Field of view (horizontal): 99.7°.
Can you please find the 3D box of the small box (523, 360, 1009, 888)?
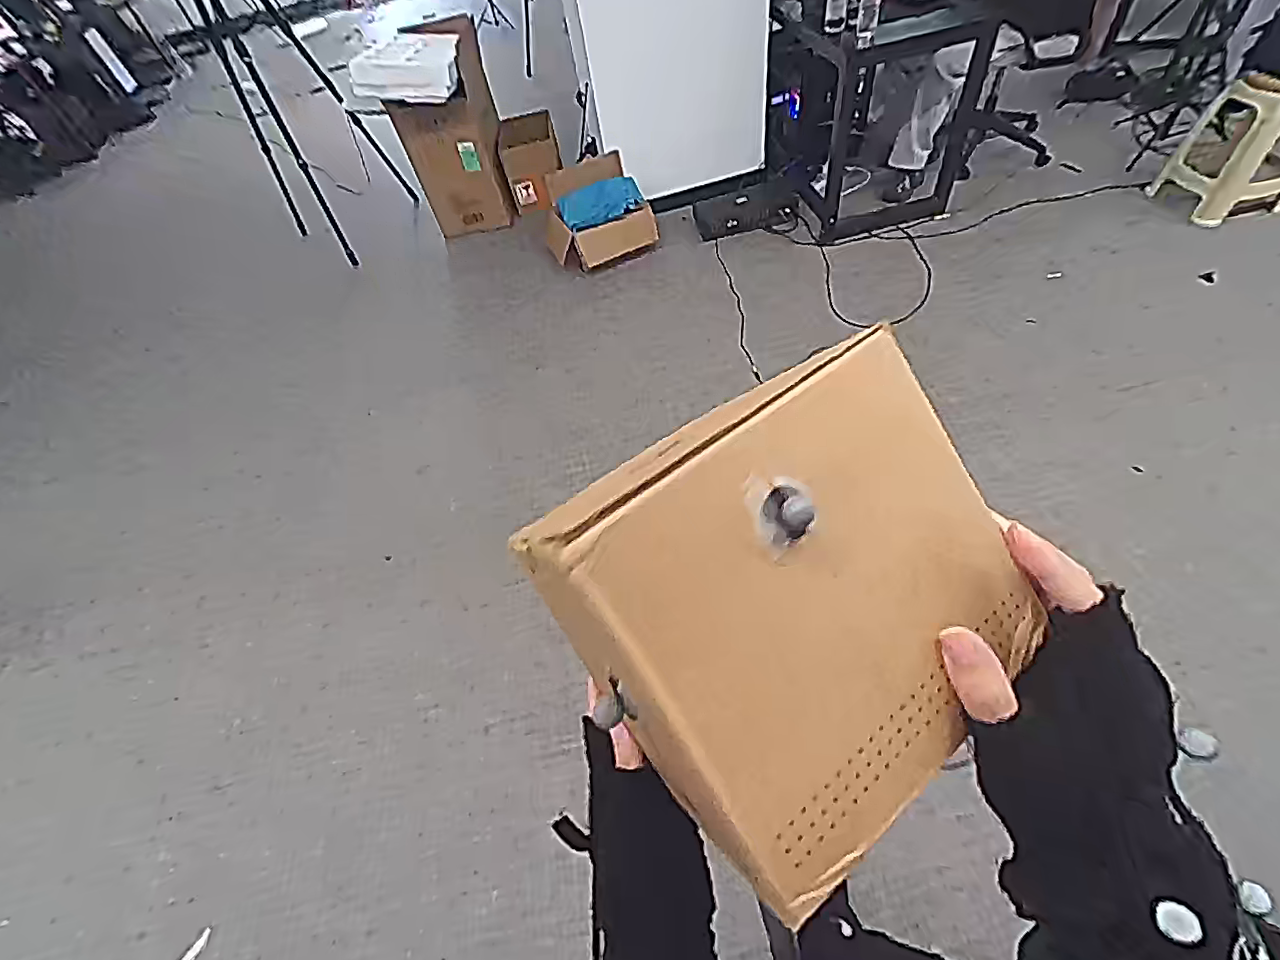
[{"bbox_3d":[0.058,0.066,0.306,0.179,0.168,0.176,-34,94,-18],"label":"small box"}]
